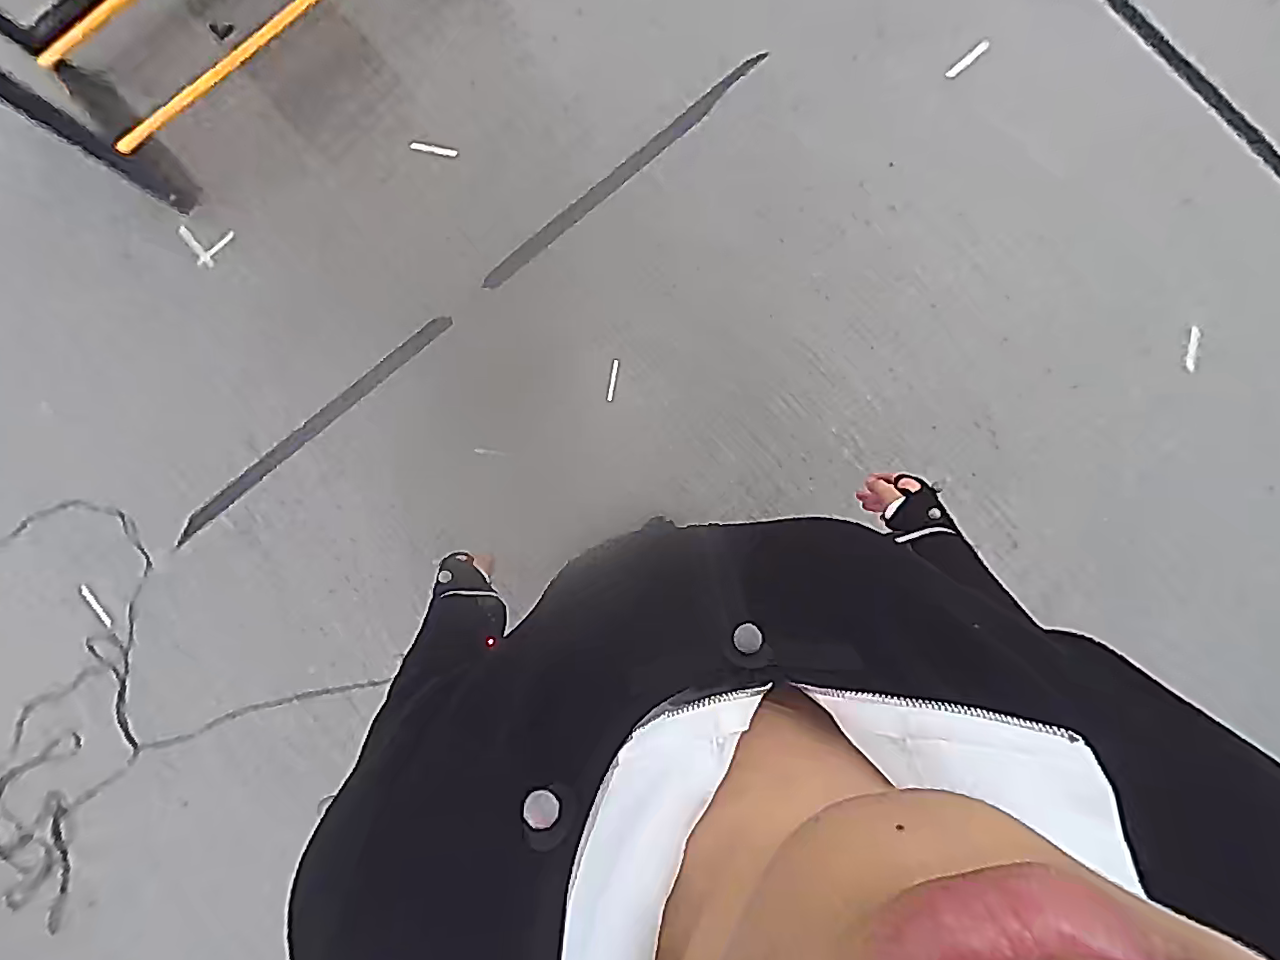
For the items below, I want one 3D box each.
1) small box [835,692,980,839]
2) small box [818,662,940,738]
[{"bbox_3d":[0.543,0.580,1.123,0.168,0.176,0.179,-40,87,1],"label":"small box"},{"bbox_3d":[0.560,0.567,1.288,0.168,0.176,0.179,-41,87,1],"label":"small box"}]
